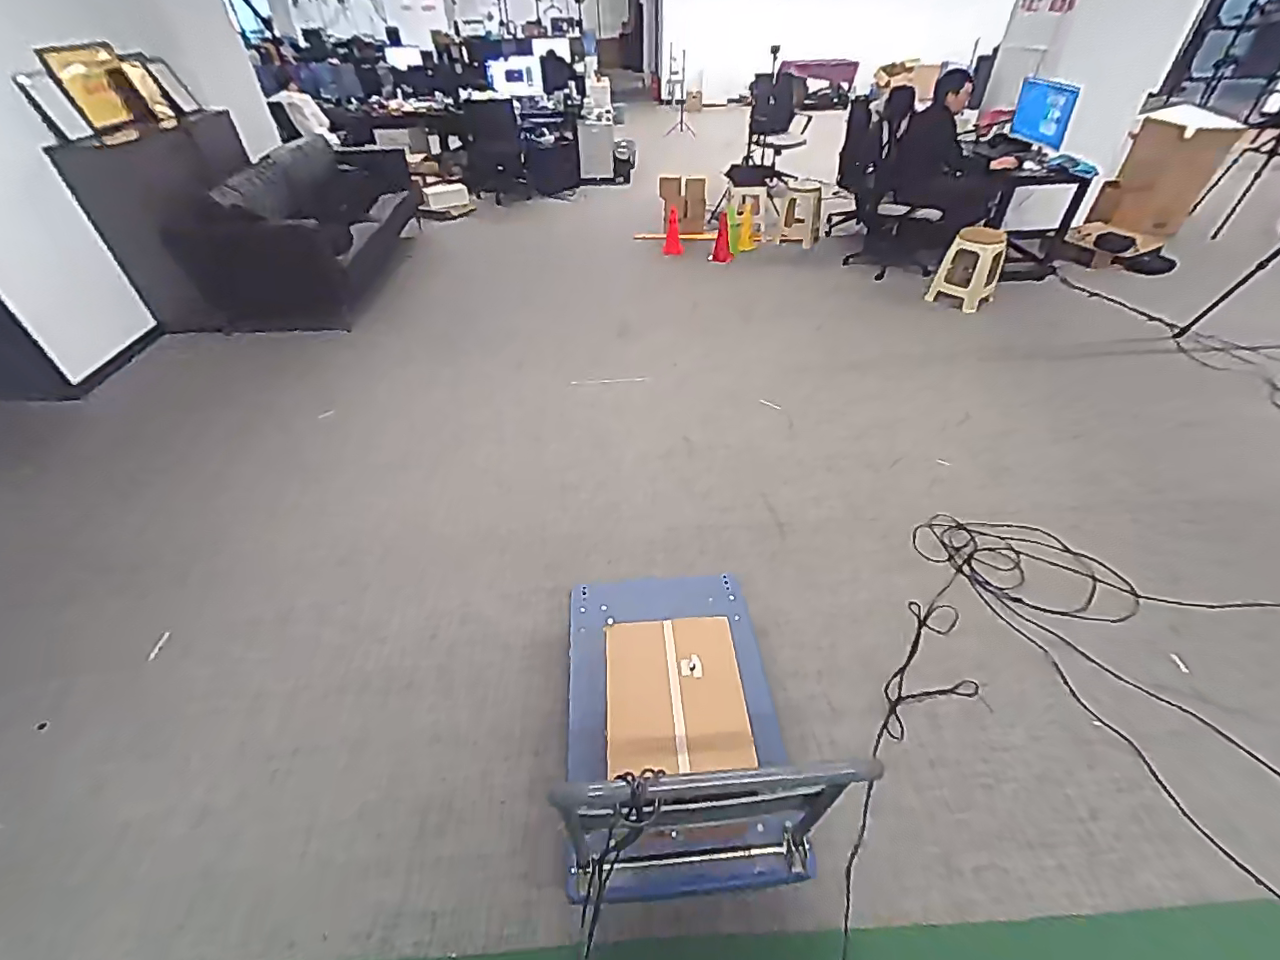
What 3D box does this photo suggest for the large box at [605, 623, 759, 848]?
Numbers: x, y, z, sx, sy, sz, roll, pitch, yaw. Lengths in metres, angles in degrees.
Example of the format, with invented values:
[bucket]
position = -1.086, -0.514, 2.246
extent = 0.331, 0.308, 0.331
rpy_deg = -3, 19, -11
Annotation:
[large box]
position = 0.081, 0.618, 1.329
extent = 0.320, 0.320, 0.408
rpy_deg = -2, 40, -2
